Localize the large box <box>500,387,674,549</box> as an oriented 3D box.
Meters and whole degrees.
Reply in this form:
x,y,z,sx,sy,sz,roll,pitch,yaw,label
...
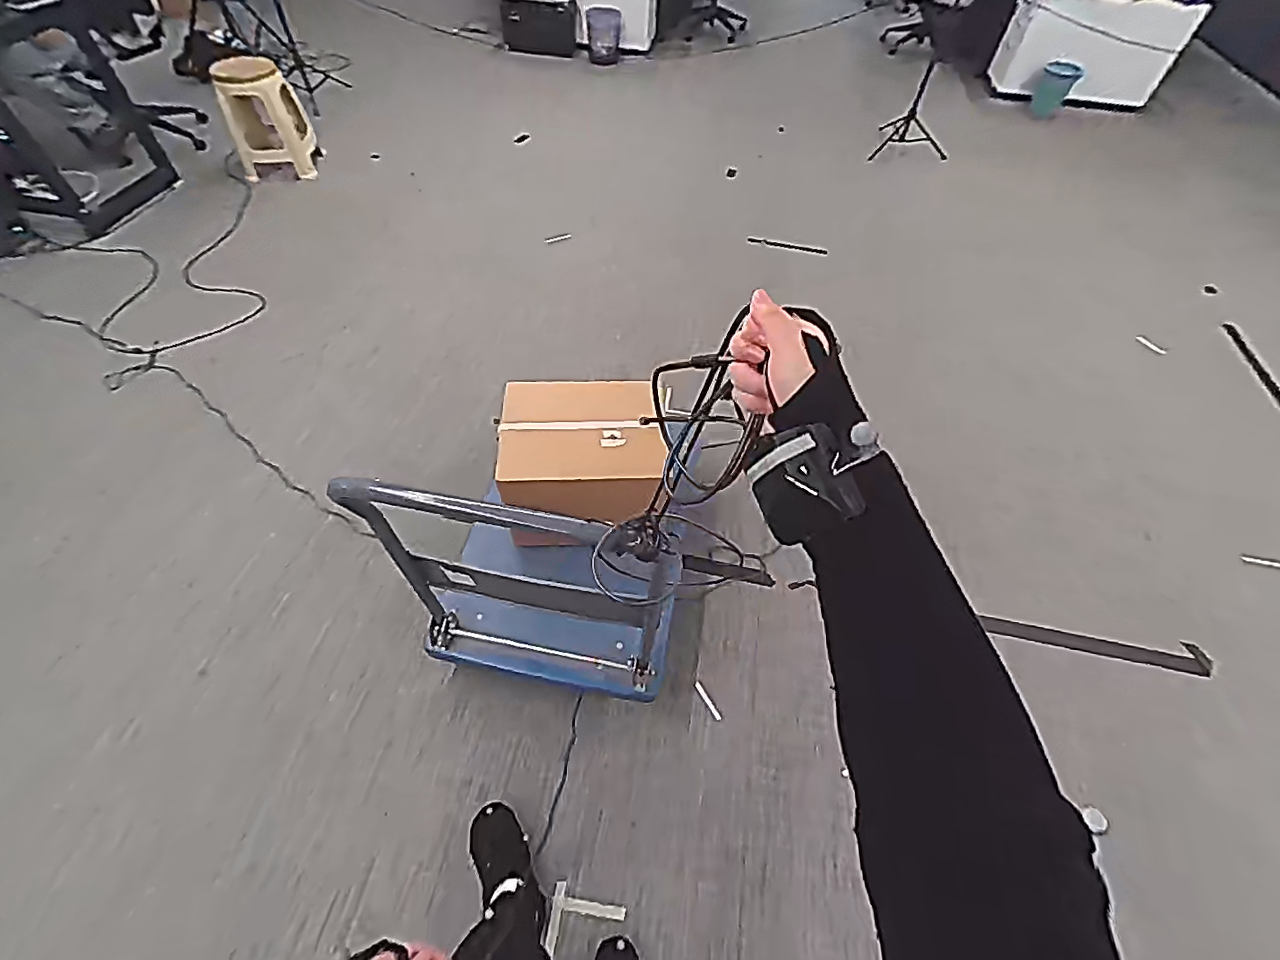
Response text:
x,y,z,sx,sy,sz,roll,pitch,yaw,label
-0.136,-0.029,1.426,0.408,0.320,0.320,-1,55,-4,large box
